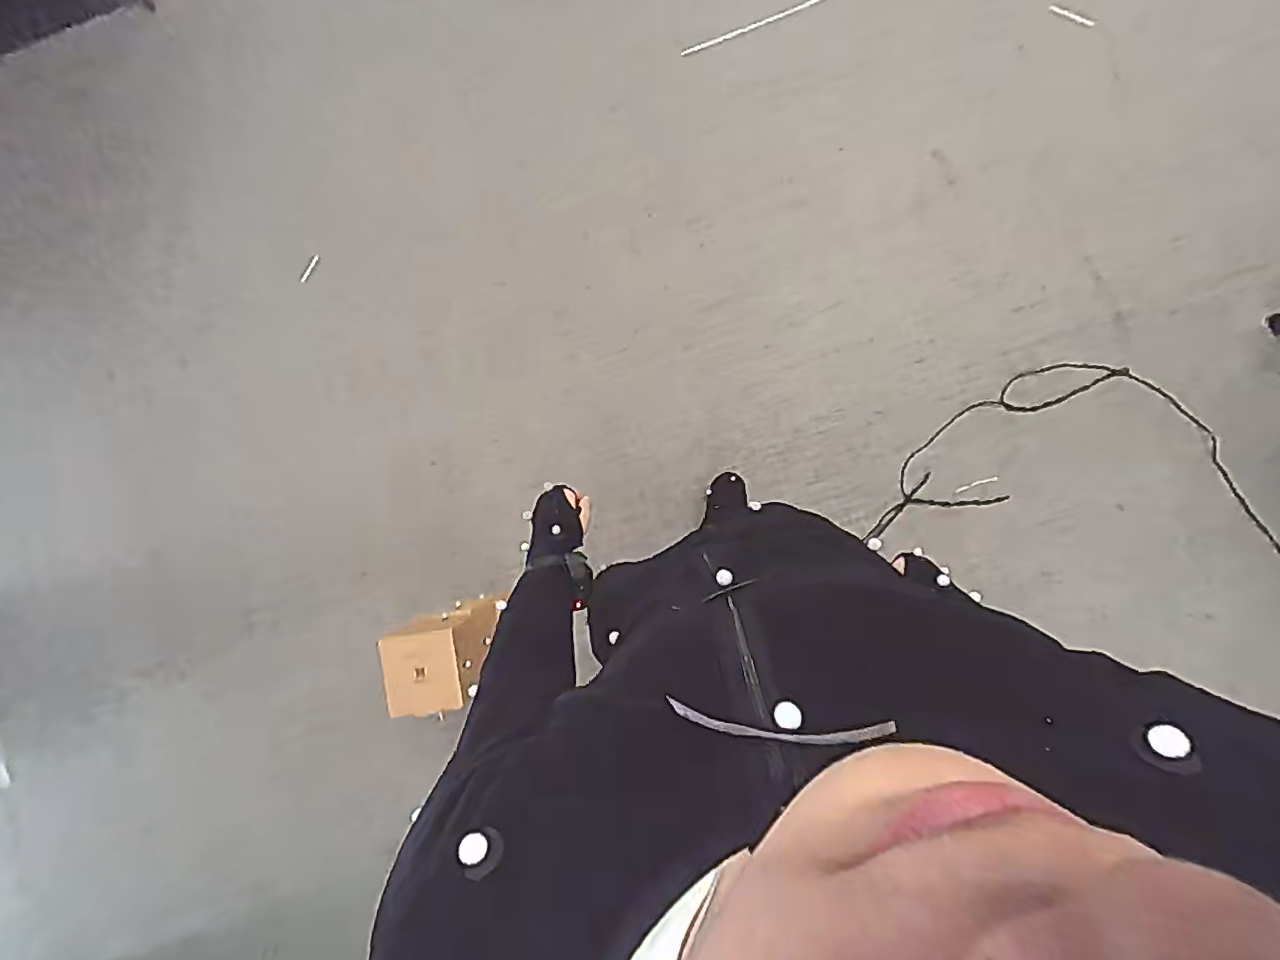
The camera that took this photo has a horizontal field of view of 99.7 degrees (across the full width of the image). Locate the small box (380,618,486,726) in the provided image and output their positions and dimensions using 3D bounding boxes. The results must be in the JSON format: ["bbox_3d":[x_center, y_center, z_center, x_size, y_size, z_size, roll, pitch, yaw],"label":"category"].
[{"bbox_3d":[-0.463,0.431,1.234,0.168,0.176,0.179,-9,88,2],"label":"small box"}]

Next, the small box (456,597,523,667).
[{"bbox_3d":[-0.447,0.444,1.558,0.179,0.176,0.168,-12,87,2],"label":"small box"}]

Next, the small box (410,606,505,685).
[{"bbox_3d":[-0.465,0.434,1.396,0.168,0.176,0.179,-13,88,3],"label":"small box"}]
